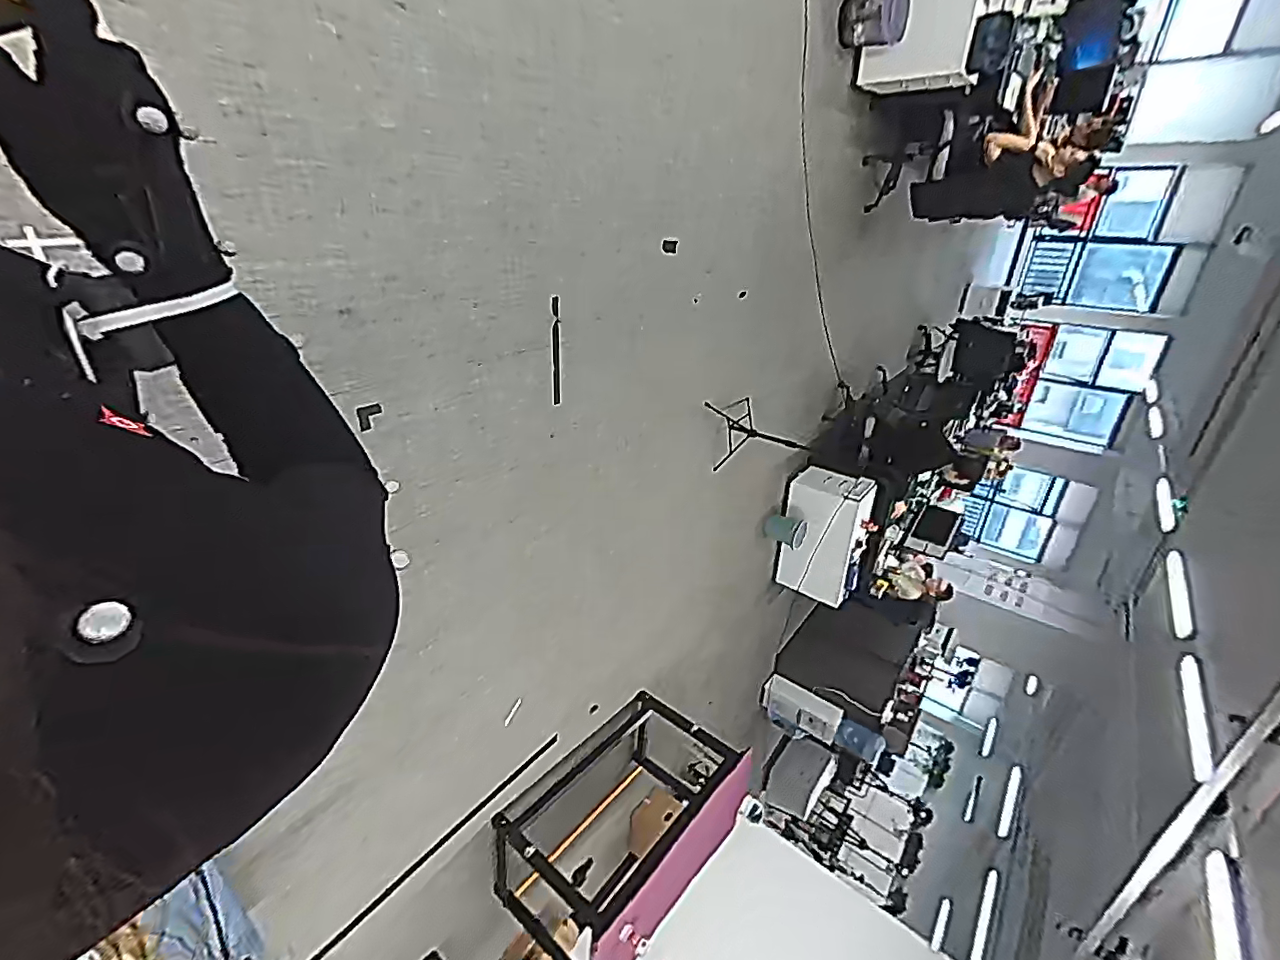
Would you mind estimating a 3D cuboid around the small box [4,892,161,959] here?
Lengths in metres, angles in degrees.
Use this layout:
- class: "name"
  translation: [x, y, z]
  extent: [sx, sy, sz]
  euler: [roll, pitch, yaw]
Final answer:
- class: "small box"
  translation: [-1.021, 0.916, 0.995]
  extent: [0.168, 0.176, 0.179]
  euler: [-30, 130, -42]
